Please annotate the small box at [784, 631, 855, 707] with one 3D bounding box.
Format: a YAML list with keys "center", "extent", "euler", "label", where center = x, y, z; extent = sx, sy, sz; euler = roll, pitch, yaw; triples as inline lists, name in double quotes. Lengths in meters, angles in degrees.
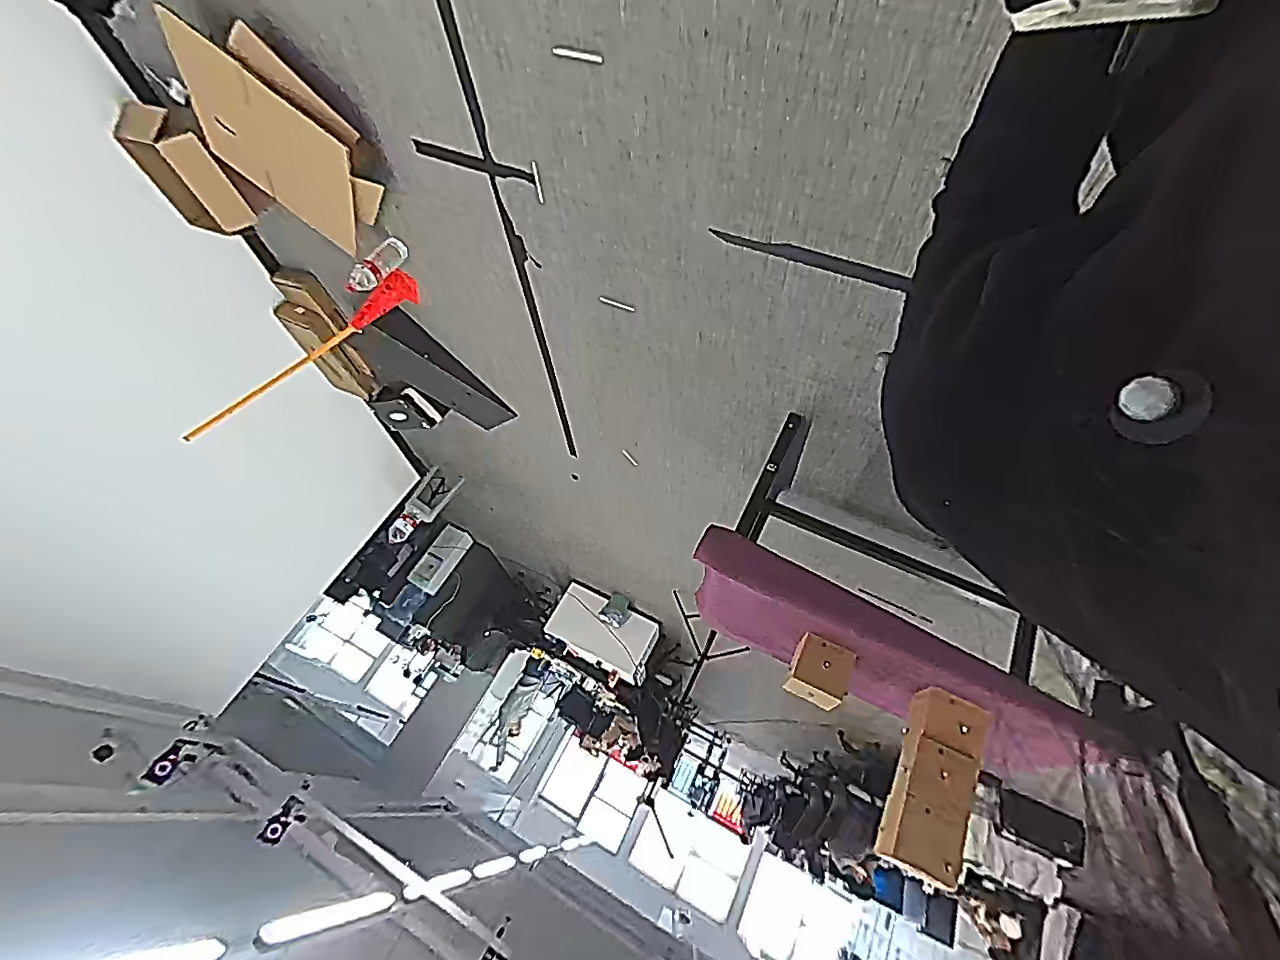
- center: [0.606, 0.633, 1.819]
  extent: [0.168, 0.176, 0.179]
  euler: [23, 153, 16]
  label: "small box"

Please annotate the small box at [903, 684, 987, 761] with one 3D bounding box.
- center: [0.949, 0.756, 1.679]
  extent: [0.168, 0.176, 0.179]
  euler: [23, 153, 17]
  label: "small box"

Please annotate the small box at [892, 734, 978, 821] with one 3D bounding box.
- center: [0.869, 0.870, 1.591]
  extent: [0.168, 0.176, 0.179]
  euler: [21, 152, 21]
  label: "small box"
